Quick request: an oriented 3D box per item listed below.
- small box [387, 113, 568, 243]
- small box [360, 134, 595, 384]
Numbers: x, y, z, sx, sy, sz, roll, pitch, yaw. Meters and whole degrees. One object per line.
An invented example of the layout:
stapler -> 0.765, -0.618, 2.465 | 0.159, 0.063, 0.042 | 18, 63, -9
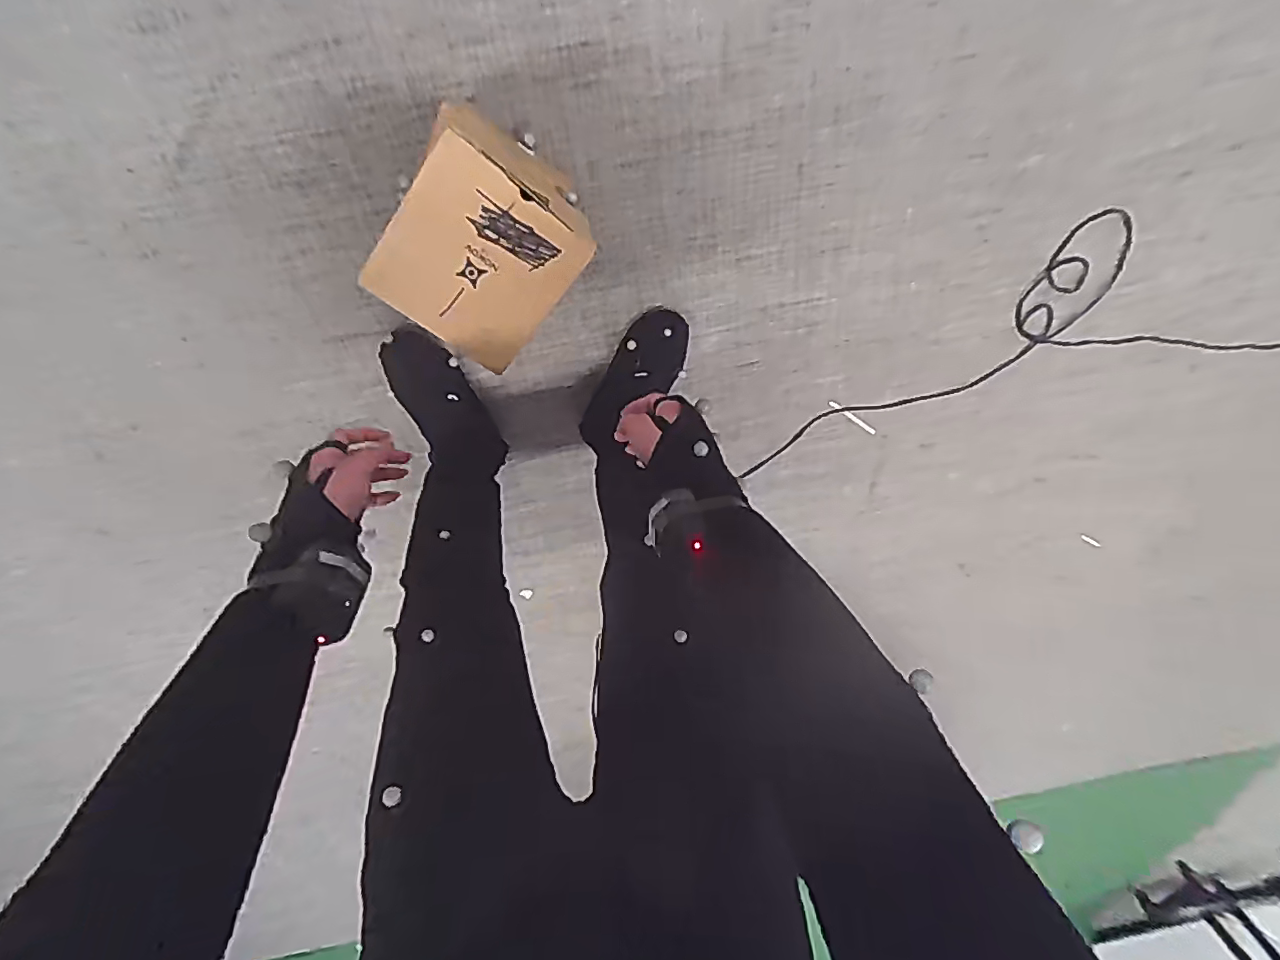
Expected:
small box -> -0.210, -0.352, 0.722 | 0.168, 0.176, 0.179 | 25, 116, -26
small box -> -0.172, -0.248, 0.599 | 0.168, 0.176, 0.179 | 33, 115, -29
